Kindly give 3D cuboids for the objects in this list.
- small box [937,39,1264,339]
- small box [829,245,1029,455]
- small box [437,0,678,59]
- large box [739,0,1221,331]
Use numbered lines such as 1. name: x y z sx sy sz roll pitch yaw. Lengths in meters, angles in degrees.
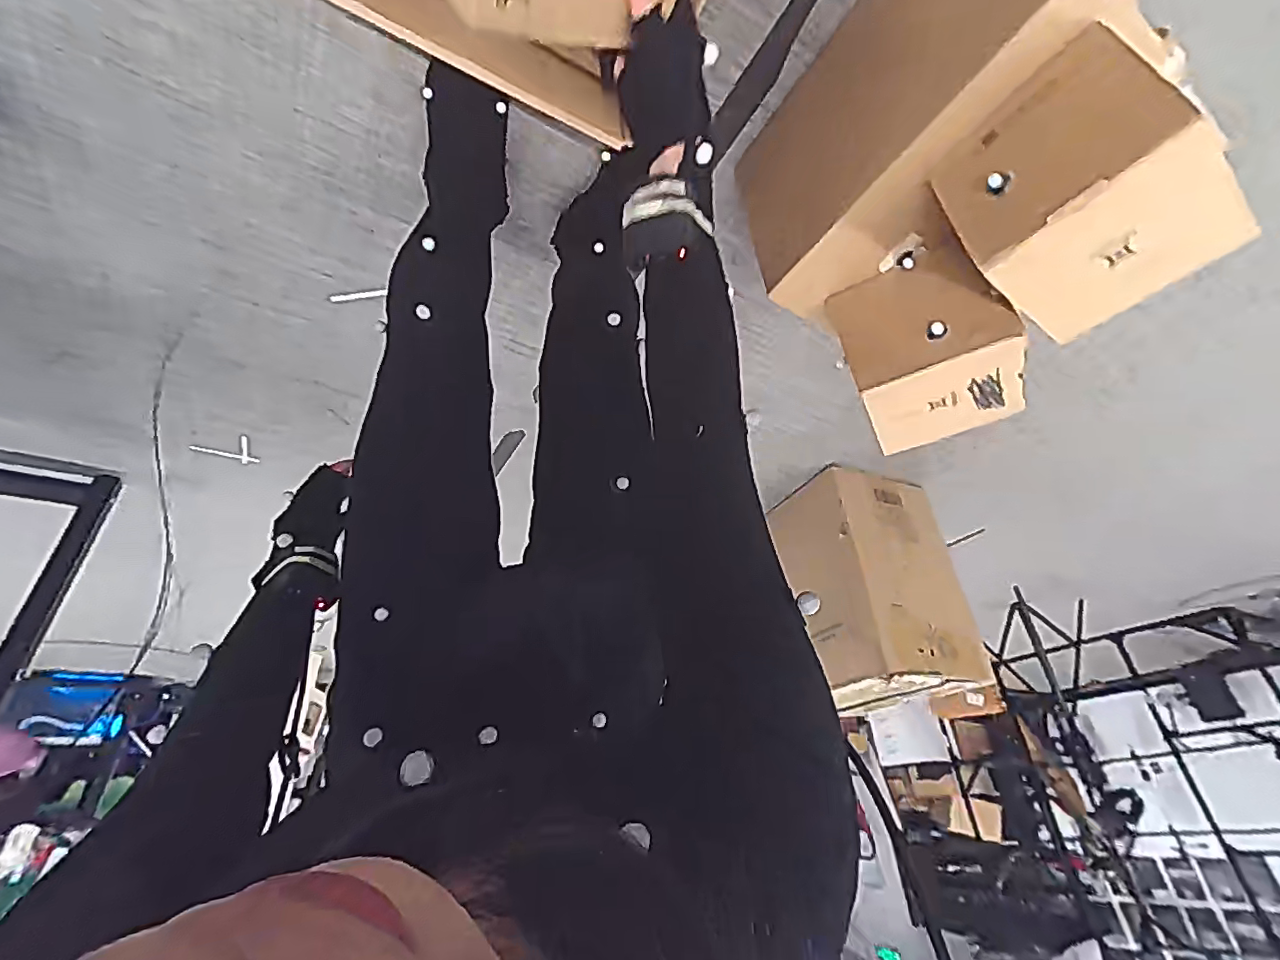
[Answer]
1. small box: 0.430 -0.279 0.530 0.179 0.176 0.168 17 145 -30
2. small box: 0.368 -0.164 0.702 0.179 0.176 0.168 -19 145 24
3. small box: -0.062 -0.415 0.345 0.179 0.176 0.168 -28 169 -35
4. large box: 0.394 -0.436 0.733 0.320 0.320 0.408 16 144 -27
